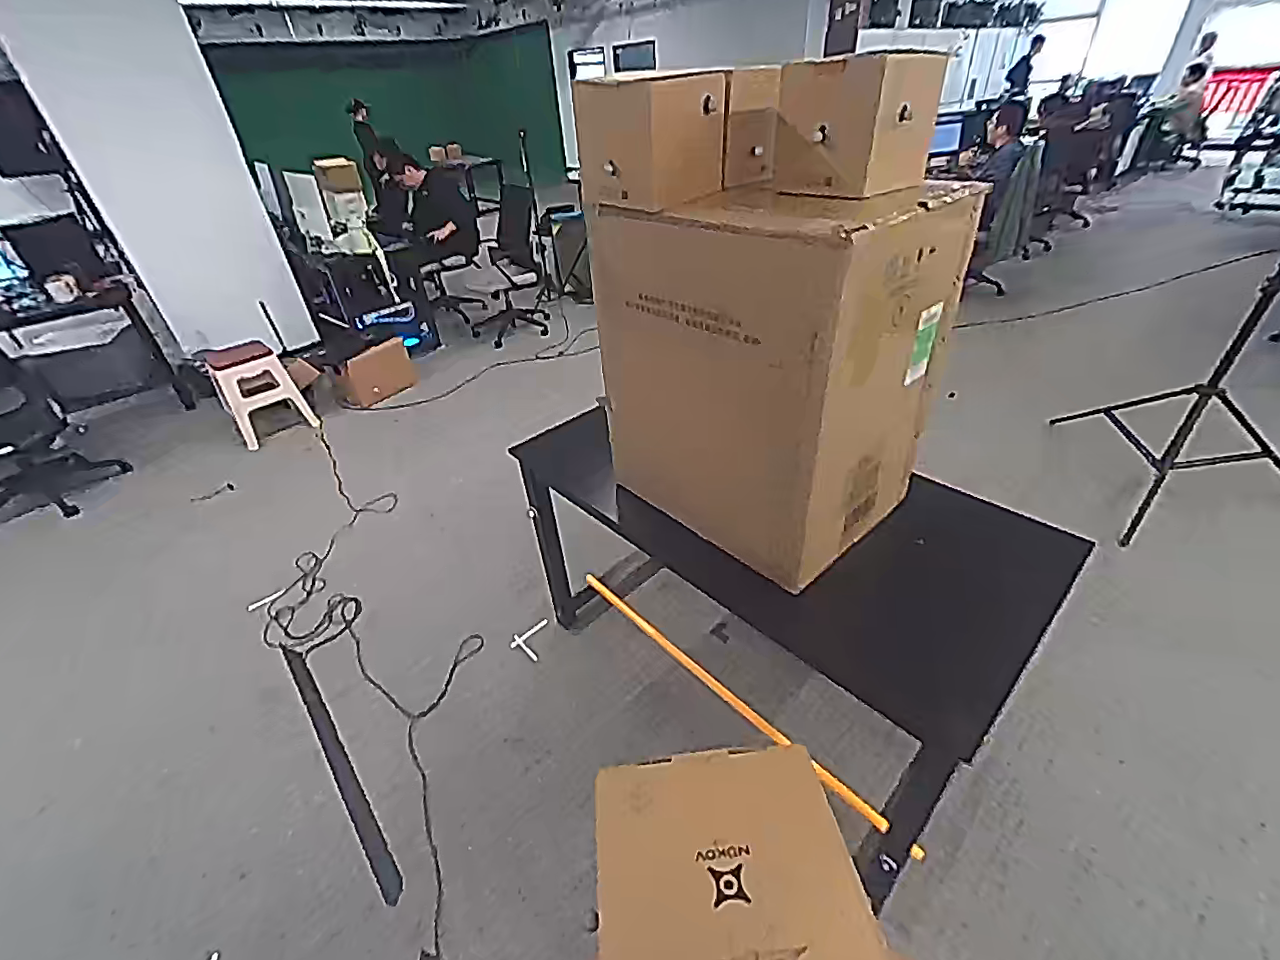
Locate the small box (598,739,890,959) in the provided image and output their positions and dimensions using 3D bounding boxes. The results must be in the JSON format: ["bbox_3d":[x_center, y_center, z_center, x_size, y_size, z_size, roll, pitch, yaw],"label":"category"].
[{"bbox_3d":[0.057,0.320,0.383,0.168,0.176,0.179,-5,28,-3],"label":"small box"}]
